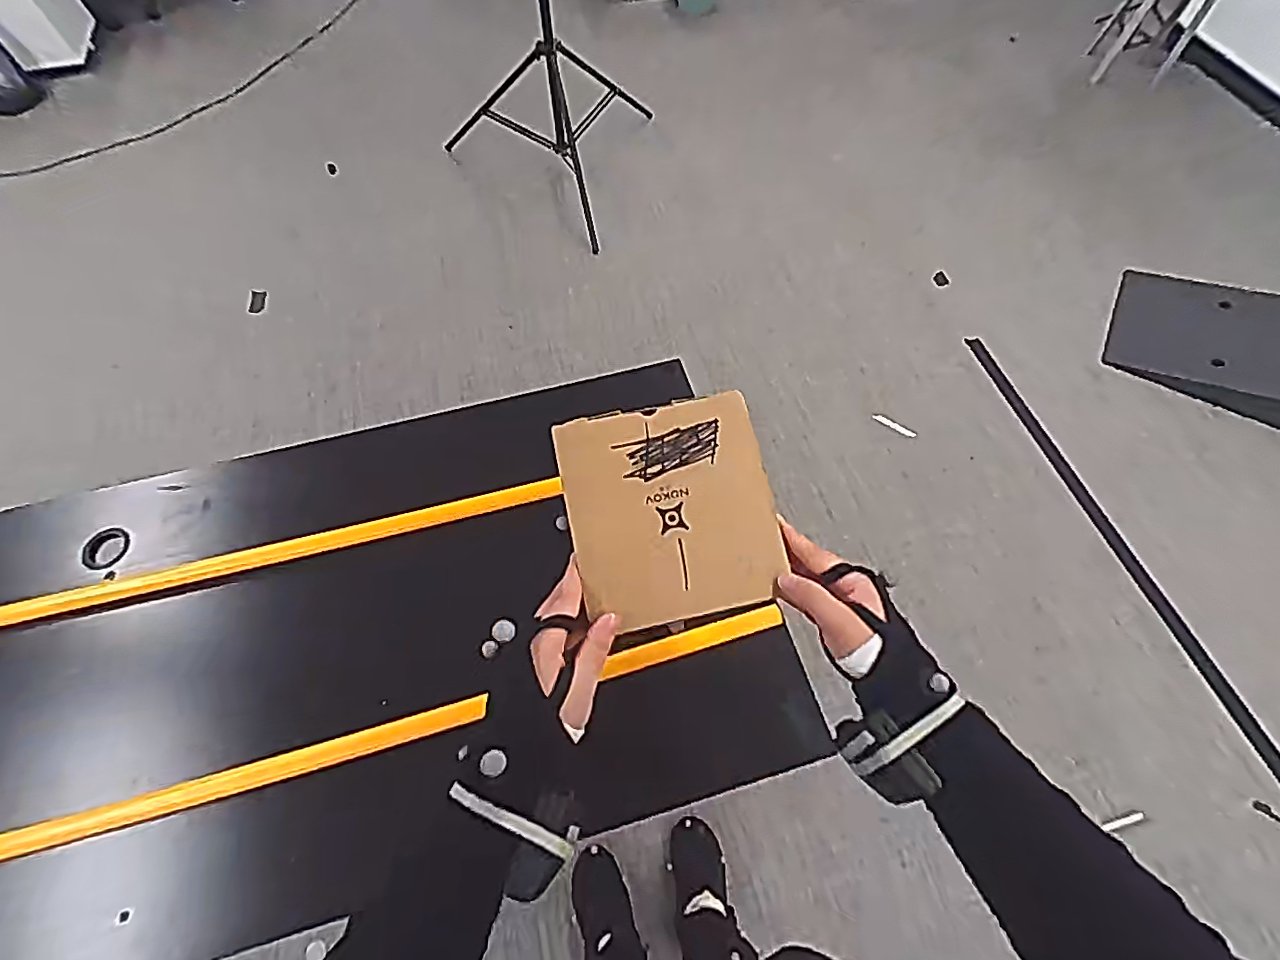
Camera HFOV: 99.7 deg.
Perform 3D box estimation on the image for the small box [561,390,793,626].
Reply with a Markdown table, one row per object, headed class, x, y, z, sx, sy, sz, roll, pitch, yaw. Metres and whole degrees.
| class | x | y | z | sx | sy | sz | roll | pitch | yaw |
| --- | --- | --- | --- | --- | --- | --- | --- | --- | --- |
| small box | 0.024 | 0.037 | 0.523 | 0.168 | 0.176 | 0.179 | -11 | 78 | -5 |
